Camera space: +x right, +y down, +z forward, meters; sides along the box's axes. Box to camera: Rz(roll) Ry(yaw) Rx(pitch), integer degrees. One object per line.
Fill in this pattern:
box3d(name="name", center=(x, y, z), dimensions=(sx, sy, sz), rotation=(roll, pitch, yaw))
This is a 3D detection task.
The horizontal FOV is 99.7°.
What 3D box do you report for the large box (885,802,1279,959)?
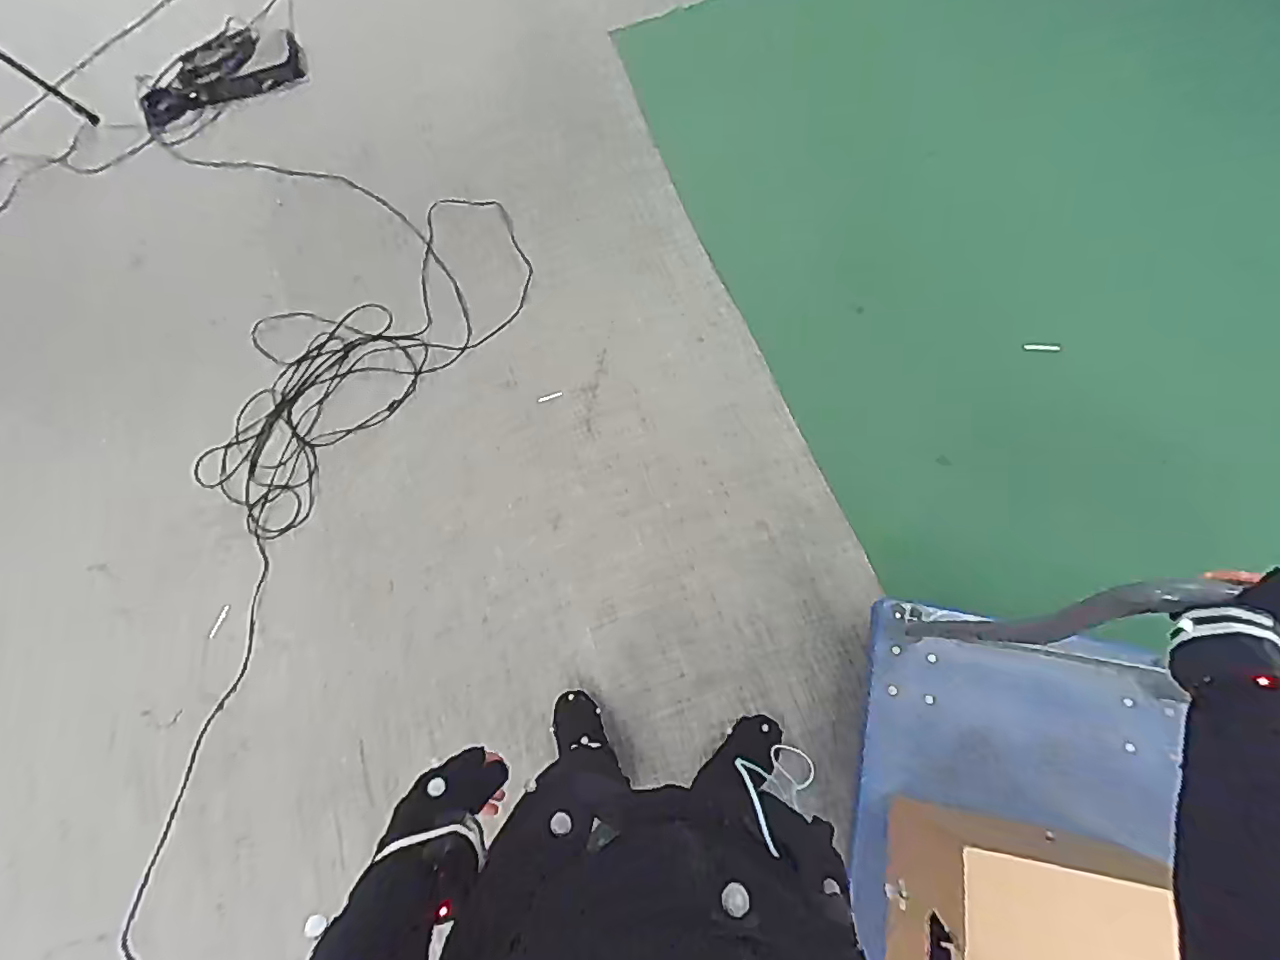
box3d(name="large box", center=(0.623, 0.715, 0.807), dimensions=(0.408, 0.320, 0.320), rotation=(7, 72, 8))
